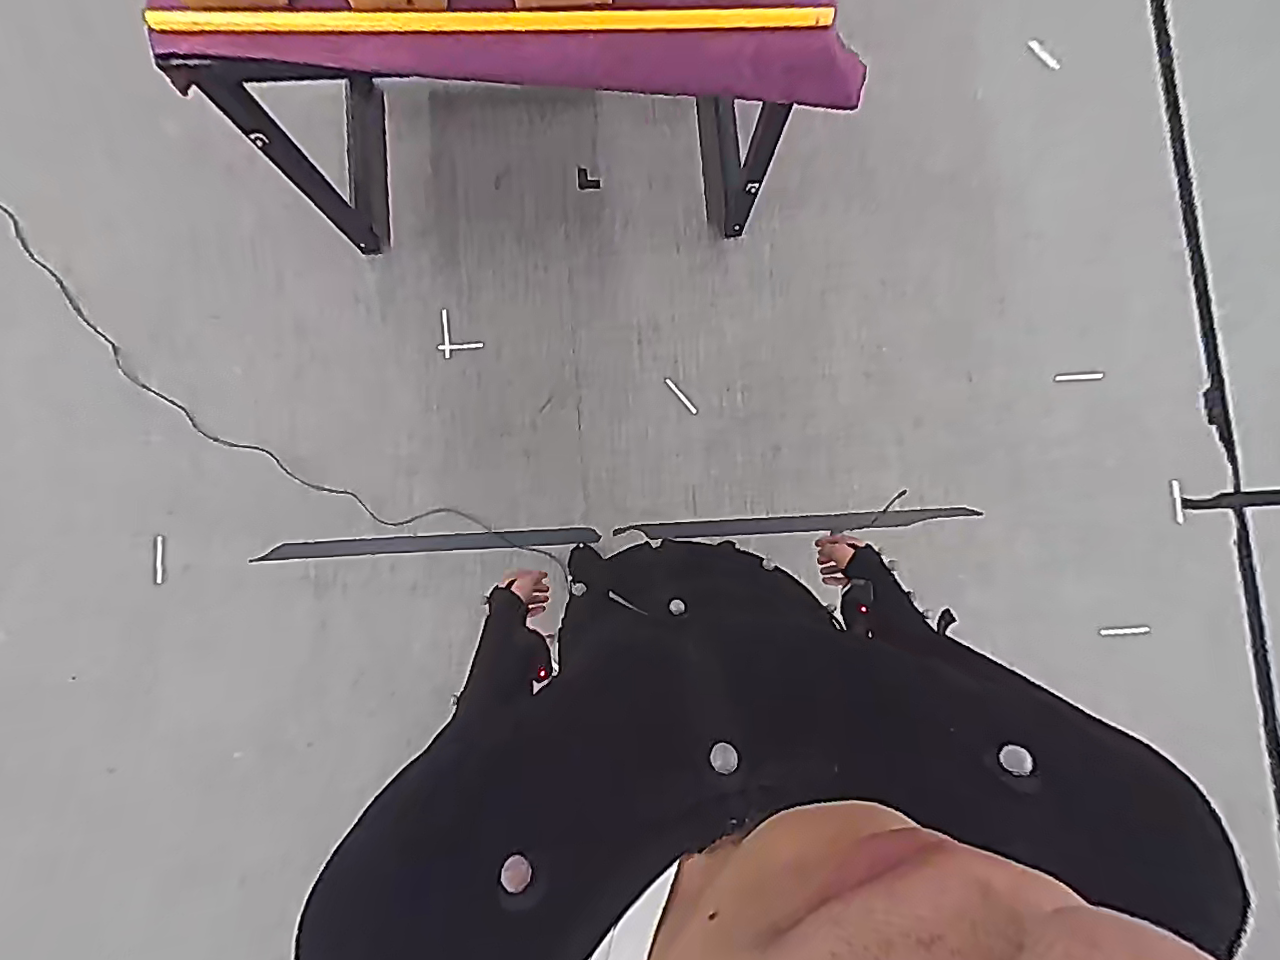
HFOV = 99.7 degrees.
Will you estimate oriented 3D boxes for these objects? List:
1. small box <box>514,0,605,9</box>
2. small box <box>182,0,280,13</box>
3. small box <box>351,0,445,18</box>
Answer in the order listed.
[{"bbox_3d":[-0.145,-0.934,0.900,0.179,0.176,0.168,-5,85,-2],"label":"small box"},{"bbox_3d":[-0.711,-0.914,0.883,0.179,0.176,0.168,-4,86,-2],"label":"small box"},{"bbox_3d":[-0.431,-0.919,0.893,0.168,0.176,0.179,-4,86,-1],"label":"small box"}]
